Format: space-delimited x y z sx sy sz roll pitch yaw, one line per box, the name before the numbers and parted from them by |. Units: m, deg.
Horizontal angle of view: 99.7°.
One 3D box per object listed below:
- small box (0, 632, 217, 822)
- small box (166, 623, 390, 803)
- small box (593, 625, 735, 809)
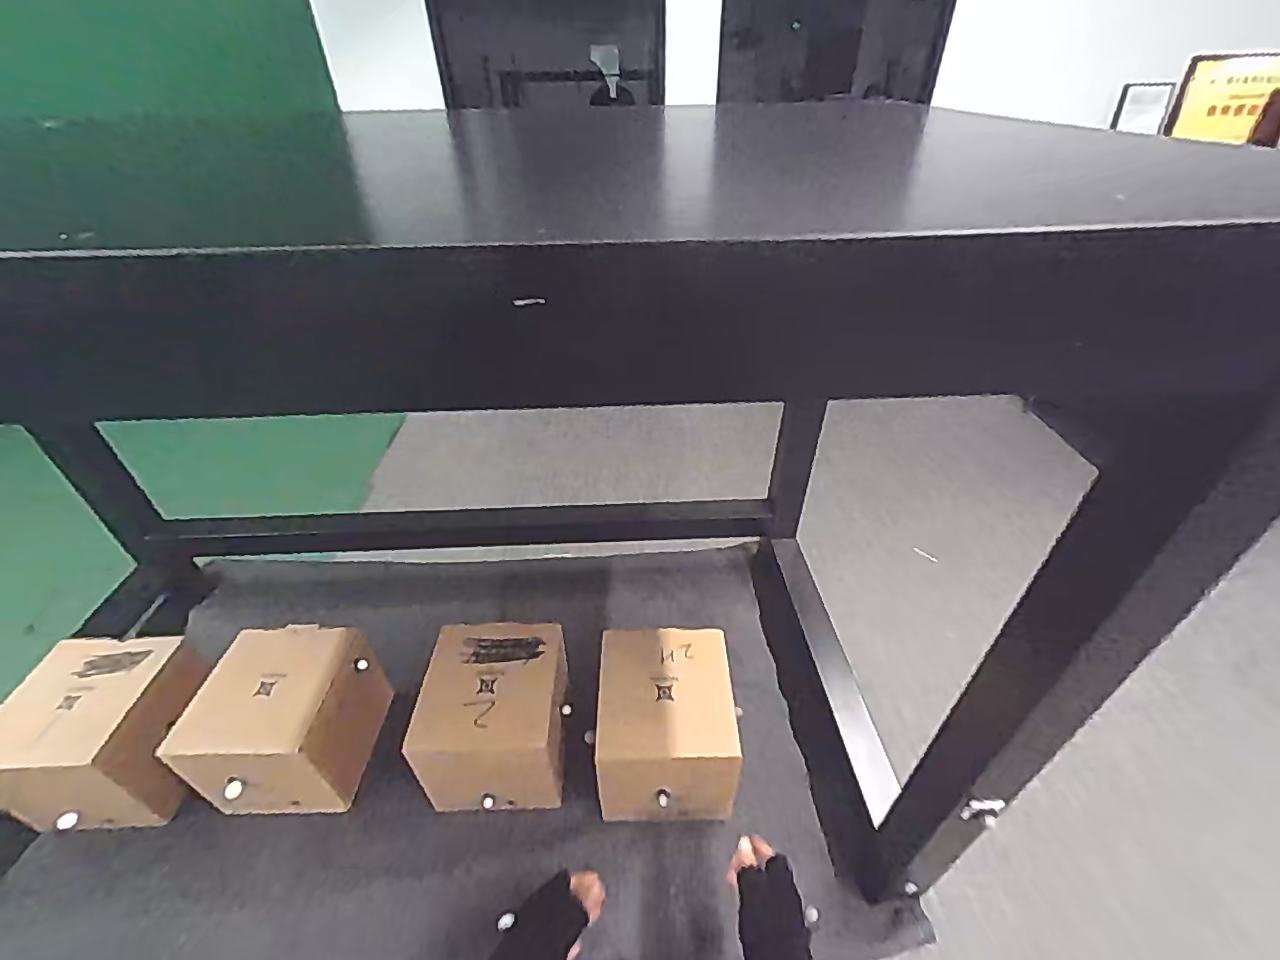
small box | -0.693 0.327 0.723 0.168 0.176 0.179 -1 38 -1
small box | -0.466 0.318 0.737 0.168 0.176 0.179 -1 37 -1
small box | 0.030 0.318 0.725 0.168 0.176 0.179 0 36 0
